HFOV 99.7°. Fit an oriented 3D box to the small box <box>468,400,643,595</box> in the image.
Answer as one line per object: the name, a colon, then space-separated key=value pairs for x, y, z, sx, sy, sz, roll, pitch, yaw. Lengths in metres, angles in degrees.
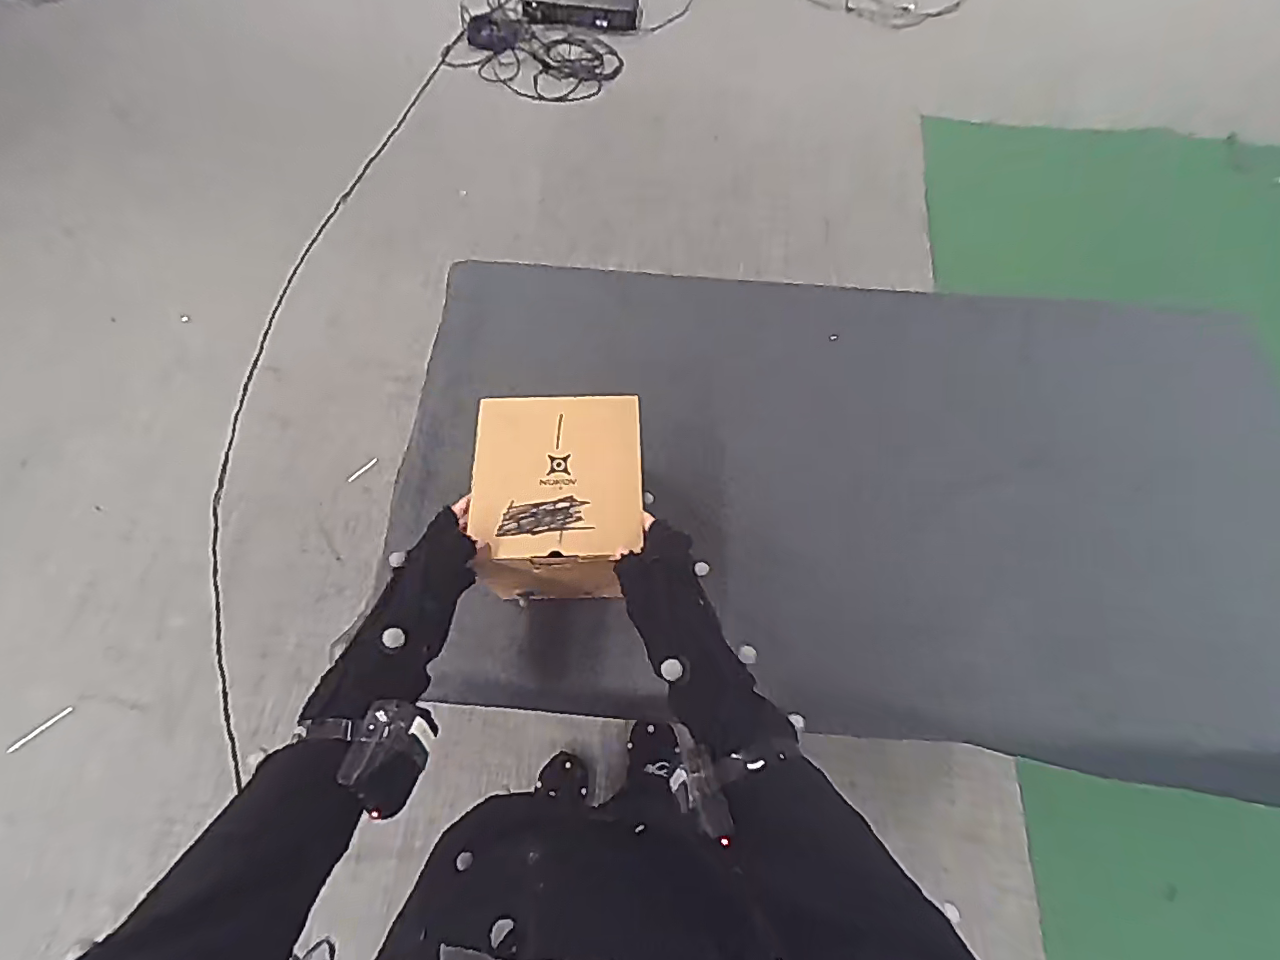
small box: x=-0.080 y=0.029 z=0.605 sx=0.168 sy=0.176 sz=0.179 roll=-1 pitch=65 yaw=-1
